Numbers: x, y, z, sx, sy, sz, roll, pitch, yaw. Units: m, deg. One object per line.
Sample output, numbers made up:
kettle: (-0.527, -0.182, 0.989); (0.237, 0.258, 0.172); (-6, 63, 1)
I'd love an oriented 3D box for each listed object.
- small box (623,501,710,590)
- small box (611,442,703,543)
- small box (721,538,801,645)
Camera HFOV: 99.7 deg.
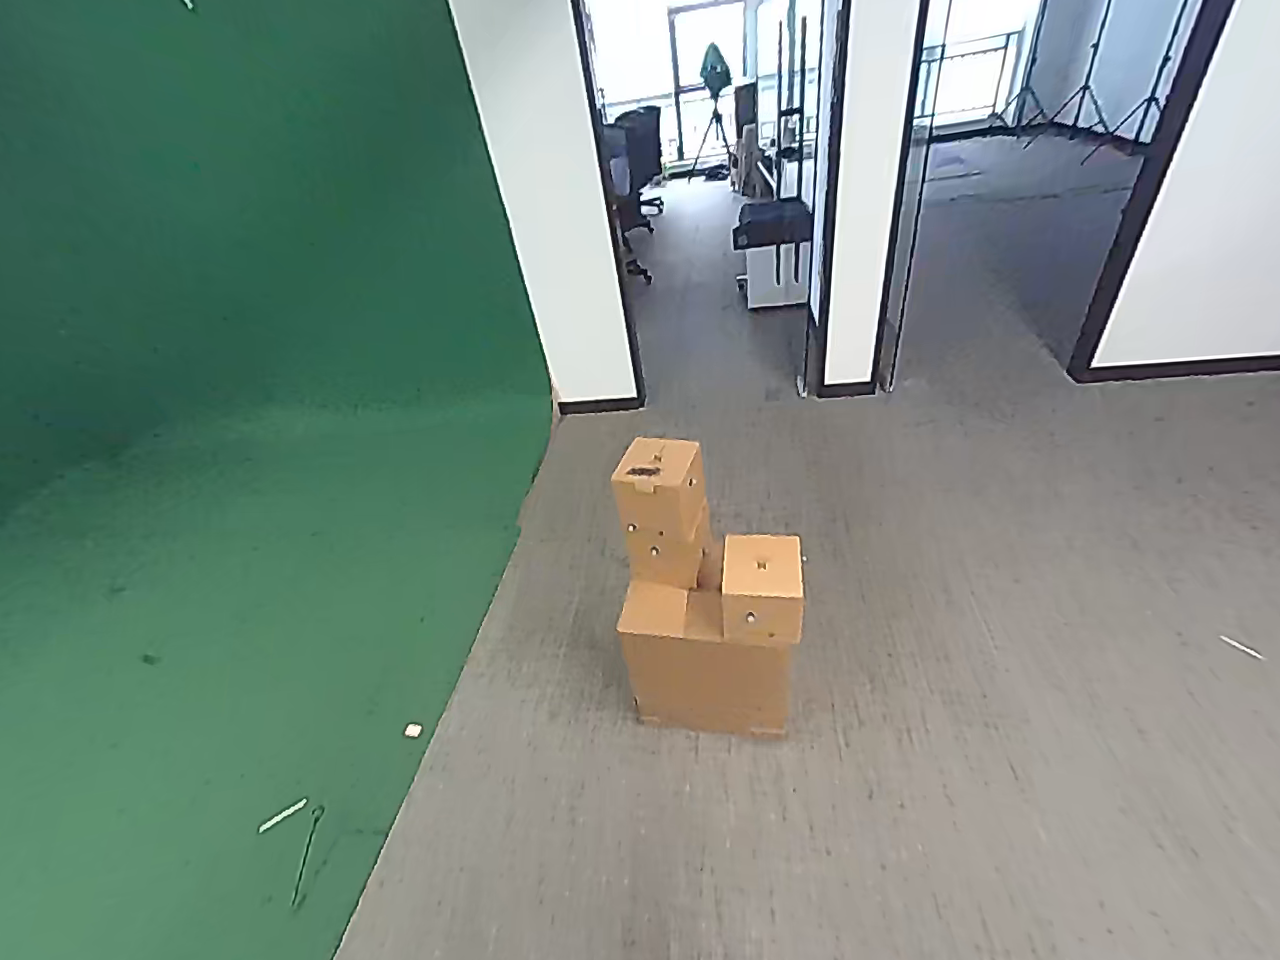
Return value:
small box: (0.075, 0.161, 1.386); (0.179, 0.176, 0.168); (5, 40, 18)
small box: (0.049, 0.029, 1.290); (0.168, 0.176, 0.179); (6, 38, 20)
small box: (0.275, 0.251, 1.220); (0.168, 0.176, 0.179); (0, 38, 13)
